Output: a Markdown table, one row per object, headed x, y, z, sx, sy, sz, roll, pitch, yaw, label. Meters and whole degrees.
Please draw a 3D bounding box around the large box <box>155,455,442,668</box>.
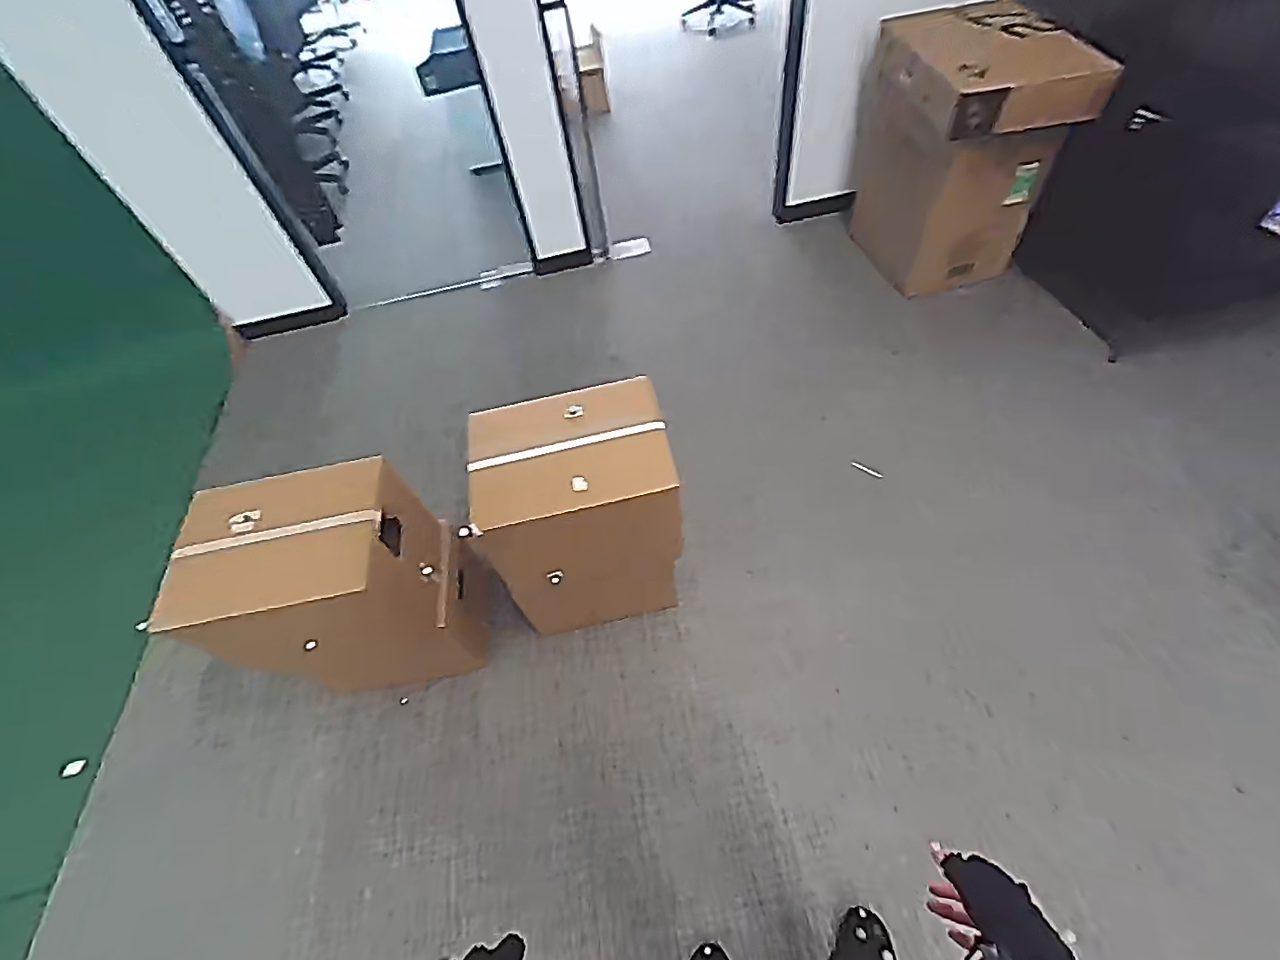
| x | y | z | sx | sy | sz | roll | pitch | yaw | label |
| --- | --- | --- | --- | --- | --- | --- | --- | --- | --- |
| -0.690 | 0.190 | 1.180 | 0.408 | 0.320 | 0.320 | -11 | 56 | 2 | large box |
